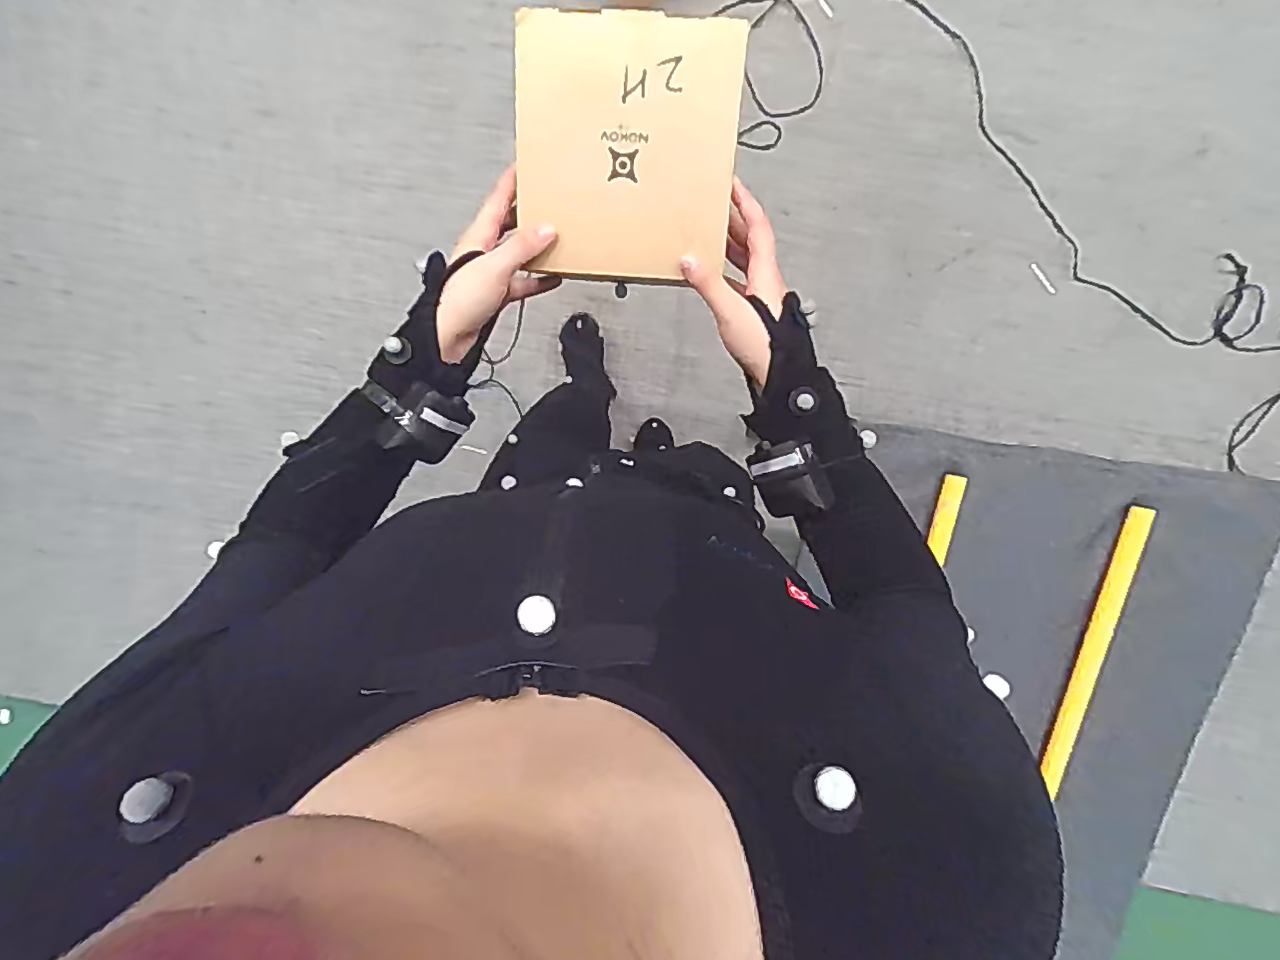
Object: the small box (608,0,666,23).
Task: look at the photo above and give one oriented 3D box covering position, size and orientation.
[{"bbox_3d":[-0.013,-1.179,1.197,0.179,0.176,0.168,-26,98,6],"label":"small box"}]
